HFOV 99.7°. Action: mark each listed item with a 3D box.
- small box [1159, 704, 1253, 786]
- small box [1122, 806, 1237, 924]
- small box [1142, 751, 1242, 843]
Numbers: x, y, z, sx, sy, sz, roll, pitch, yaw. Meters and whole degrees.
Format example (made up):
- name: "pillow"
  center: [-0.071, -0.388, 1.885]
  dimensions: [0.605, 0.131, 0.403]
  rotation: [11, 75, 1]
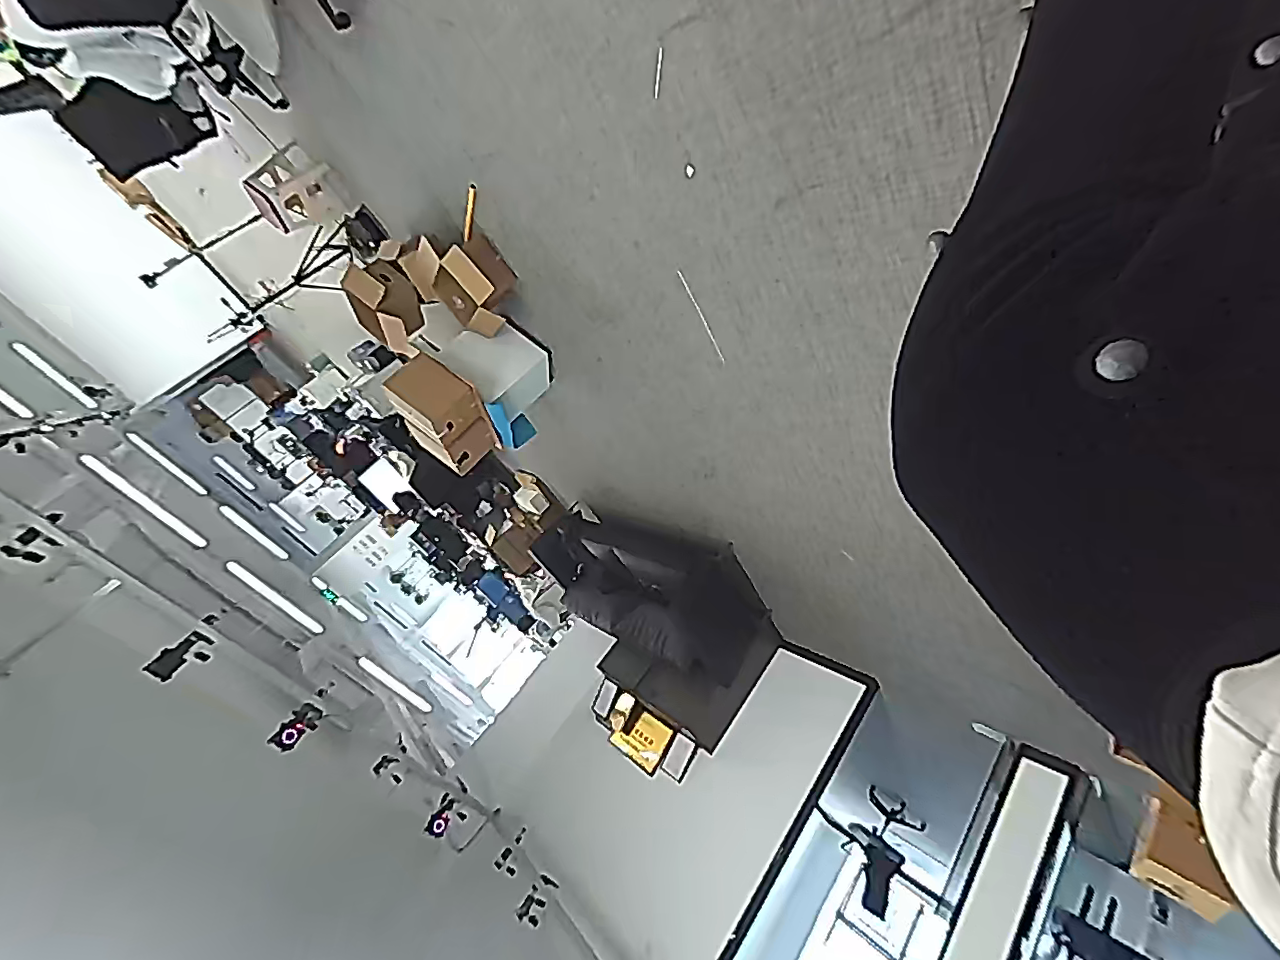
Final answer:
- name: "small box"
  center: [1.620, 0.789, 1.555]
  dimensions: [0.168, 0.176, 0.179]
  rotation: [13, 142, 48]
- name: "small box"
  center: [1.418, 1.007, 1.422]
  dimensions: [0.168, 0.176, 0.179]
  rotation: [21, 147, 41]
- name: "small box"
  center: [1.517, 0.894, 1.489]
  dimensions: [0.168, 0.176, 0.179]
  rotation: [14, 142, 49]
